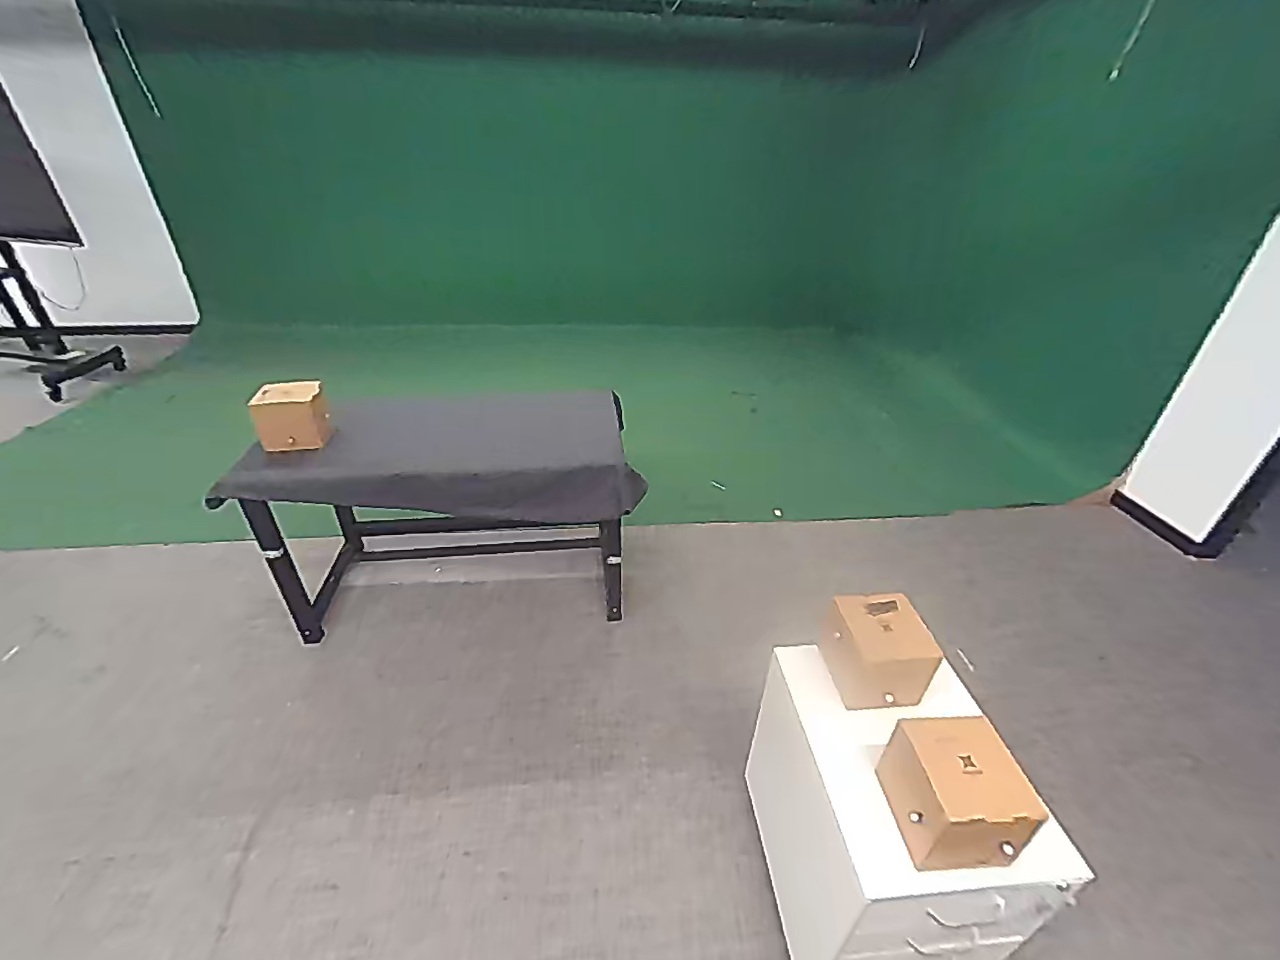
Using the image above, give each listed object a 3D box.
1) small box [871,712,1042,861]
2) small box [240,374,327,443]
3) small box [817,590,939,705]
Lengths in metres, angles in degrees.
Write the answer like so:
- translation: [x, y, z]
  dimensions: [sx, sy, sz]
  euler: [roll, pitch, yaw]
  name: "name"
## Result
- translation: [0.532, 0.533, 0.938]
  dimensions: [0.168, 0.176, 0.179]
  euler: [0, 32, -5]
  name: "small box"
- translation: [-1.137, -0.231, 1.743]
  dimensions: [0.179, 0.176, 0.168]
  euler: [-5, 33, -14]
  name: "small box"
- translation: [0.507, 0.365, 1.185]
  dimensions: [0.168, 0.176, 0.179]
  euler: [-2, 36, -6]
  name: "small box"
